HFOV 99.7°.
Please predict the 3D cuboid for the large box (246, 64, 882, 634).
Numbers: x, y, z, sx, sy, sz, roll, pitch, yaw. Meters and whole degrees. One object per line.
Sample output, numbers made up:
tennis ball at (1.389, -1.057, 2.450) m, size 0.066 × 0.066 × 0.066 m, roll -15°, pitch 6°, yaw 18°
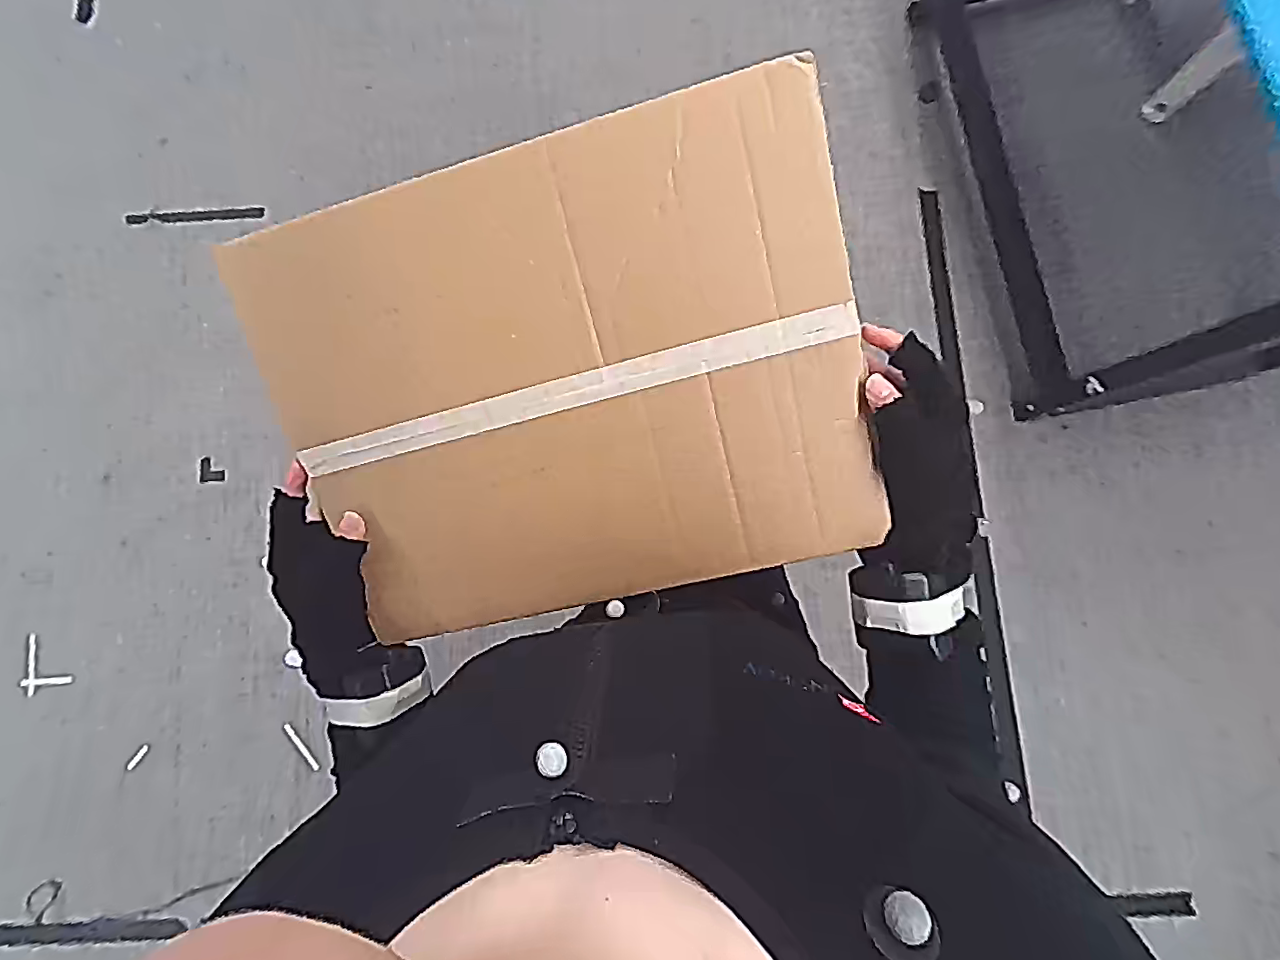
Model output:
large box at (-0.042, -0.097, 0.530) m, size 0.408 × 0.320 × 0.320 m, roll -14°, pitch 104°, yaw 8°
